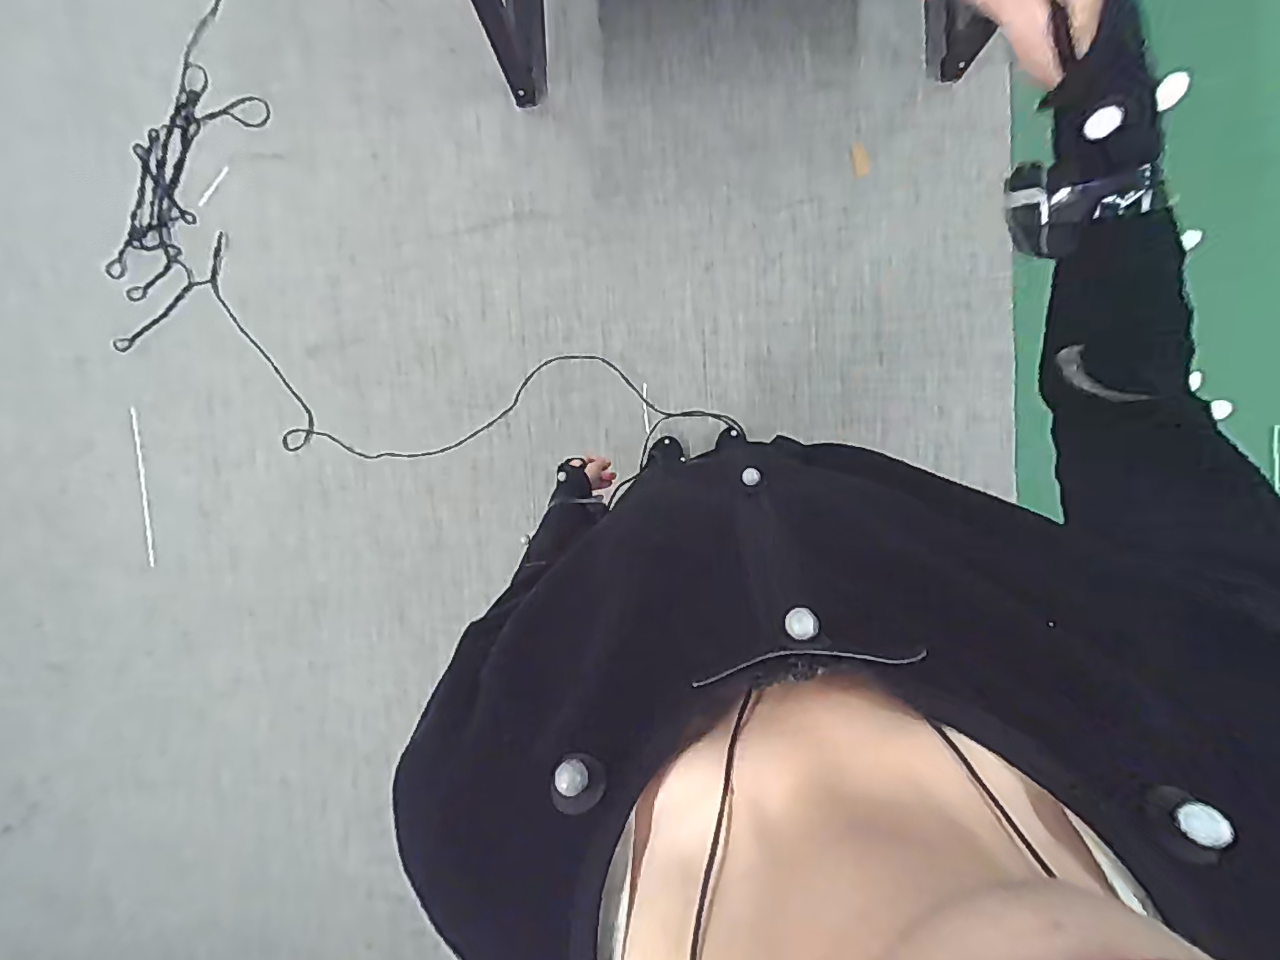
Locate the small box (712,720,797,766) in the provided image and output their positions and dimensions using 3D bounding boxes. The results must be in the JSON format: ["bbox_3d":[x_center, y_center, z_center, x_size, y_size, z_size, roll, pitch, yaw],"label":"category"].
[{"bbox_3d":[0.264,0.669,1.242,0.179,0.176,0.168,-6,90,7],"label":"small box"}]

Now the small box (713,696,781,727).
[{"bbox_3d":[0.283,0.677,1.404,0.168,0.176,0.179,-7,91,7],"label":"small box"}]
